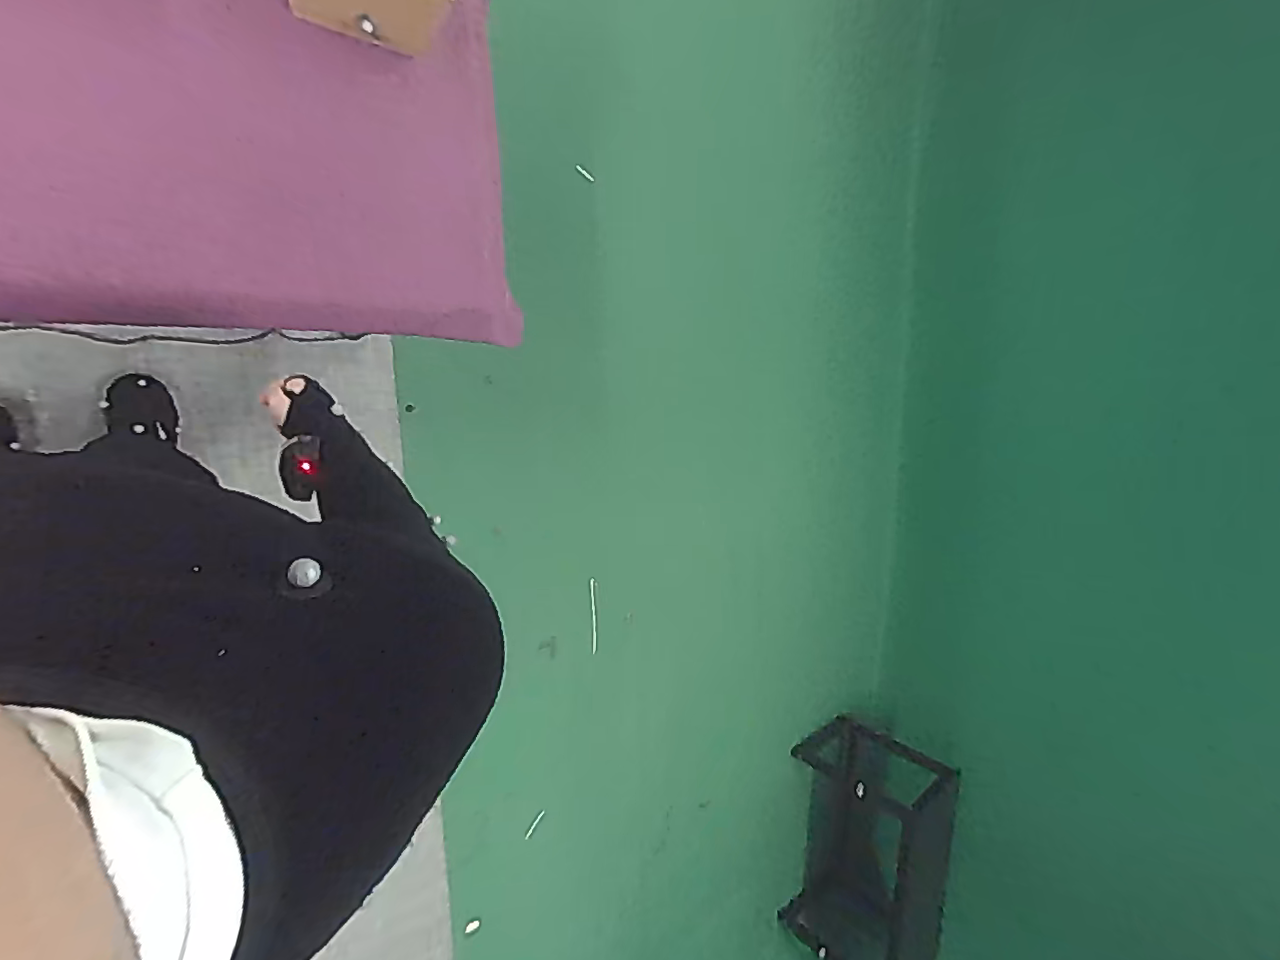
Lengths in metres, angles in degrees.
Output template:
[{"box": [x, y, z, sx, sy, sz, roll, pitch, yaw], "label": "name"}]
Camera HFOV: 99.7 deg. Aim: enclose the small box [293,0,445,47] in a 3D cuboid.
[{"box": [-0.356, -0.709, 0.686, 0.168, 0.176, 0.179, -9, 105, -37], "label": "small box"}]
